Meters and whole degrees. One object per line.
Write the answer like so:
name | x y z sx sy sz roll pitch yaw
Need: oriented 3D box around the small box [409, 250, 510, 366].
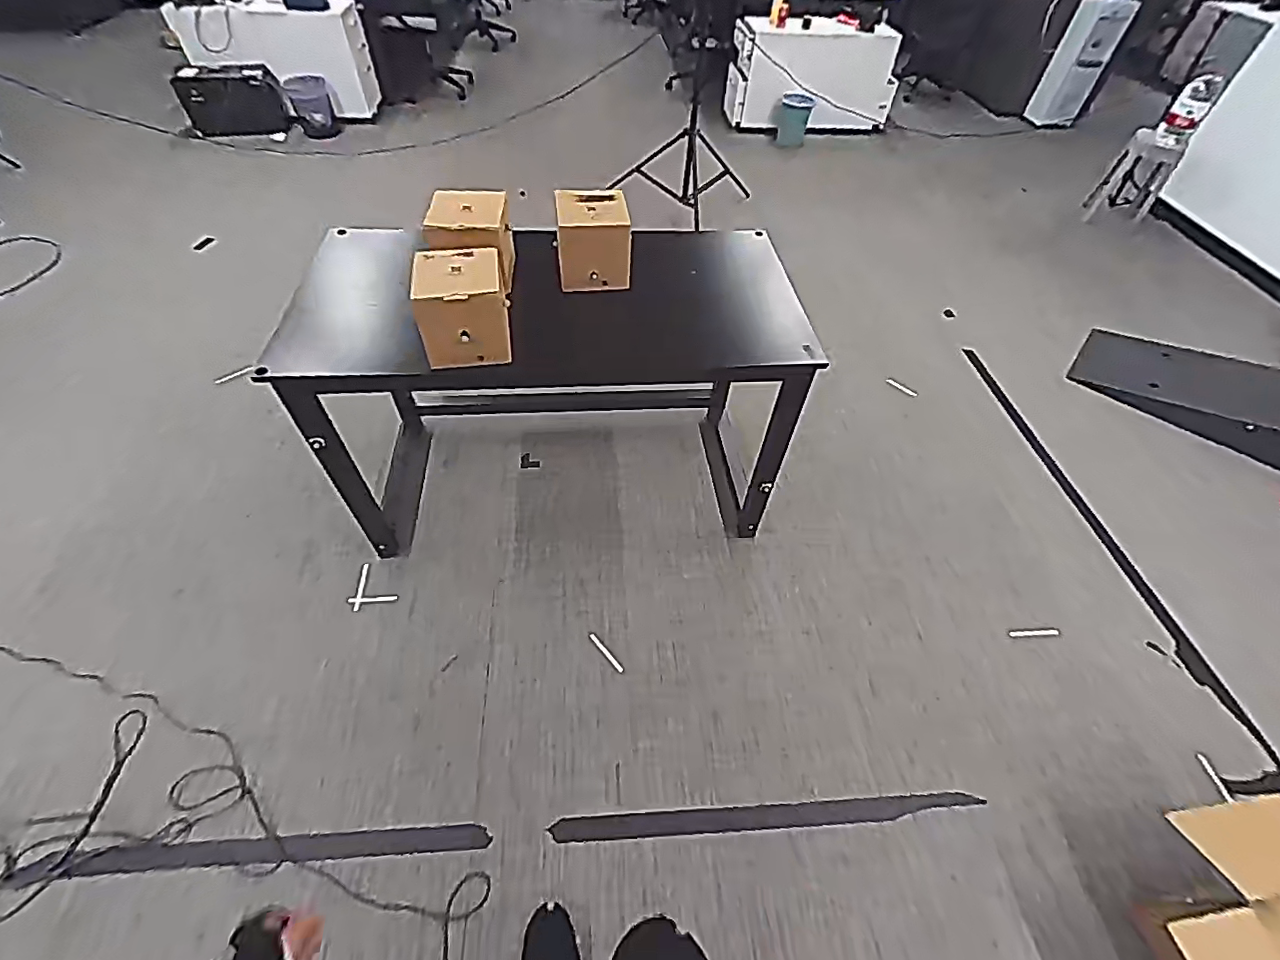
small box | -0.369 -0.352 1.130 0.168 0.176 0.179 -7 52 -9

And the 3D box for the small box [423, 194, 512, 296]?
small box | -0.404 -0.561 1.300 0.168 0.176 0.179 -2 52 -5
